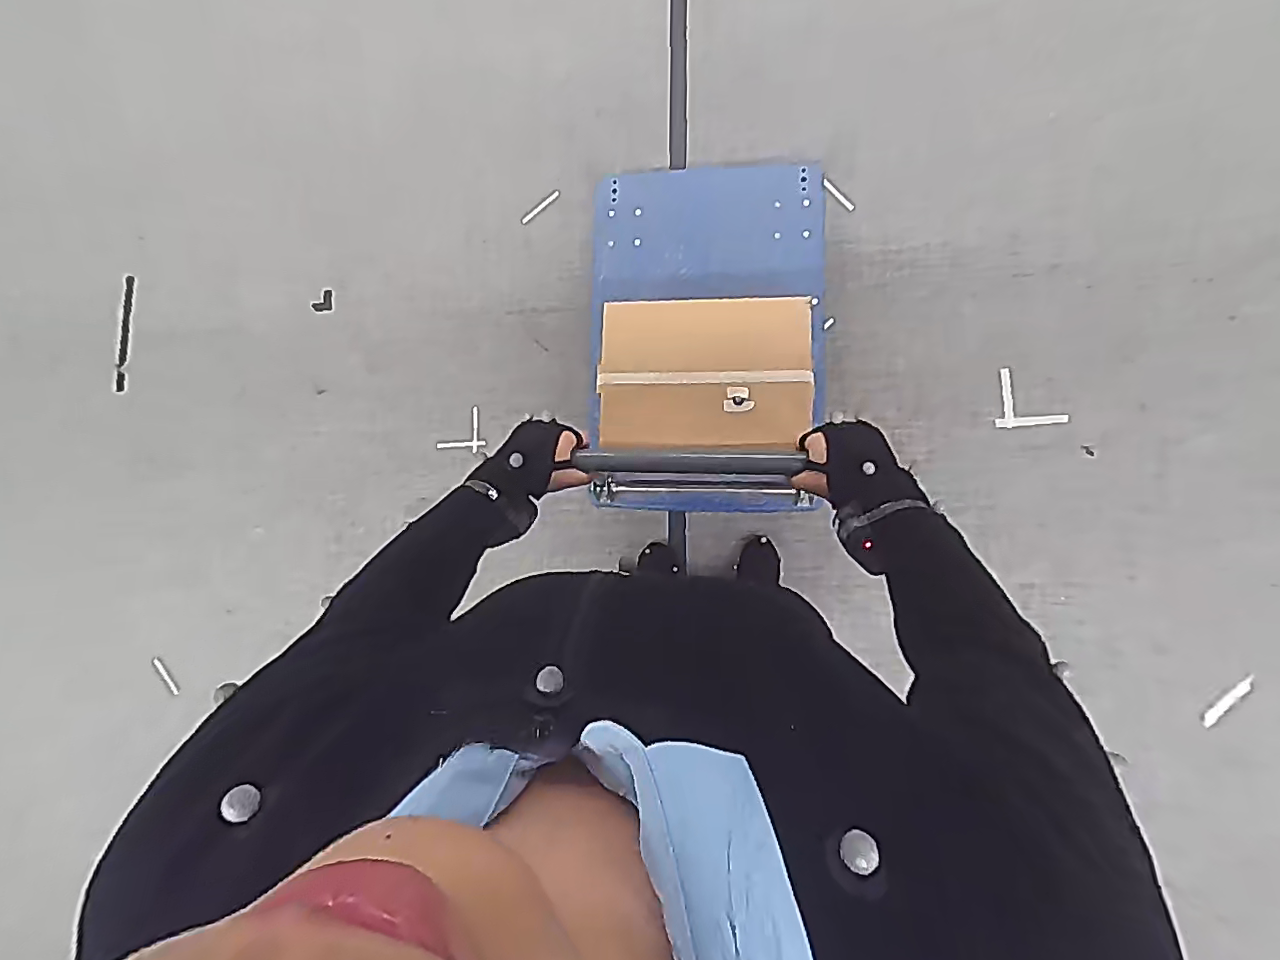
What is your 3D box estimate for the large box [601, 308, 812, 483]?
[{"bbox_3d":[0.139,-0.160,1.179,0.408,0.320,0.320,1,86,7],"label":"large box"}]
